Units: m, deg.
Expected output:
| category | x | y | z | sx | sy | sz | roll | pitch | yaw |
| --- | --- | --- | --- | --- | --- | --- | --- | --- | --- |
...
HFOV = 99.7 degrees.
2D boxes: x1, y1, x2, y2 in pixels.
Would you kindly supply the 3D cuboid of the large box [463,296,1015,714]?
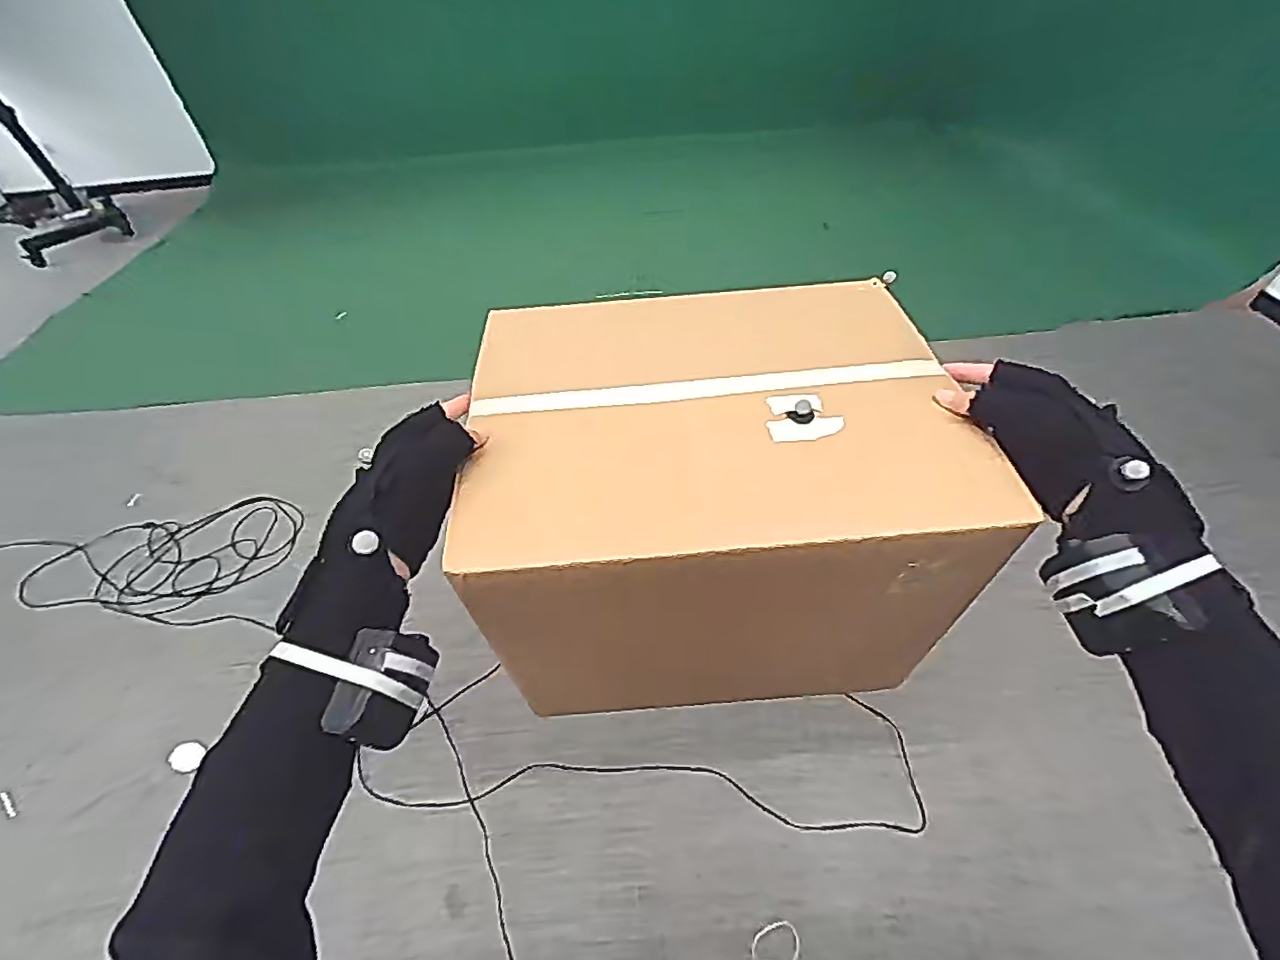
| category | x | y | z | sx | sy | sz | roll | pitch | yaw |
| --- | --- | --- | --- | --- | --- | --- | --- | --- | --- |
| large box | 0.065 | 0.031 | 0.587 | 0.408 | 0.320 | 0.320 | -5 | 49 | -1 |
